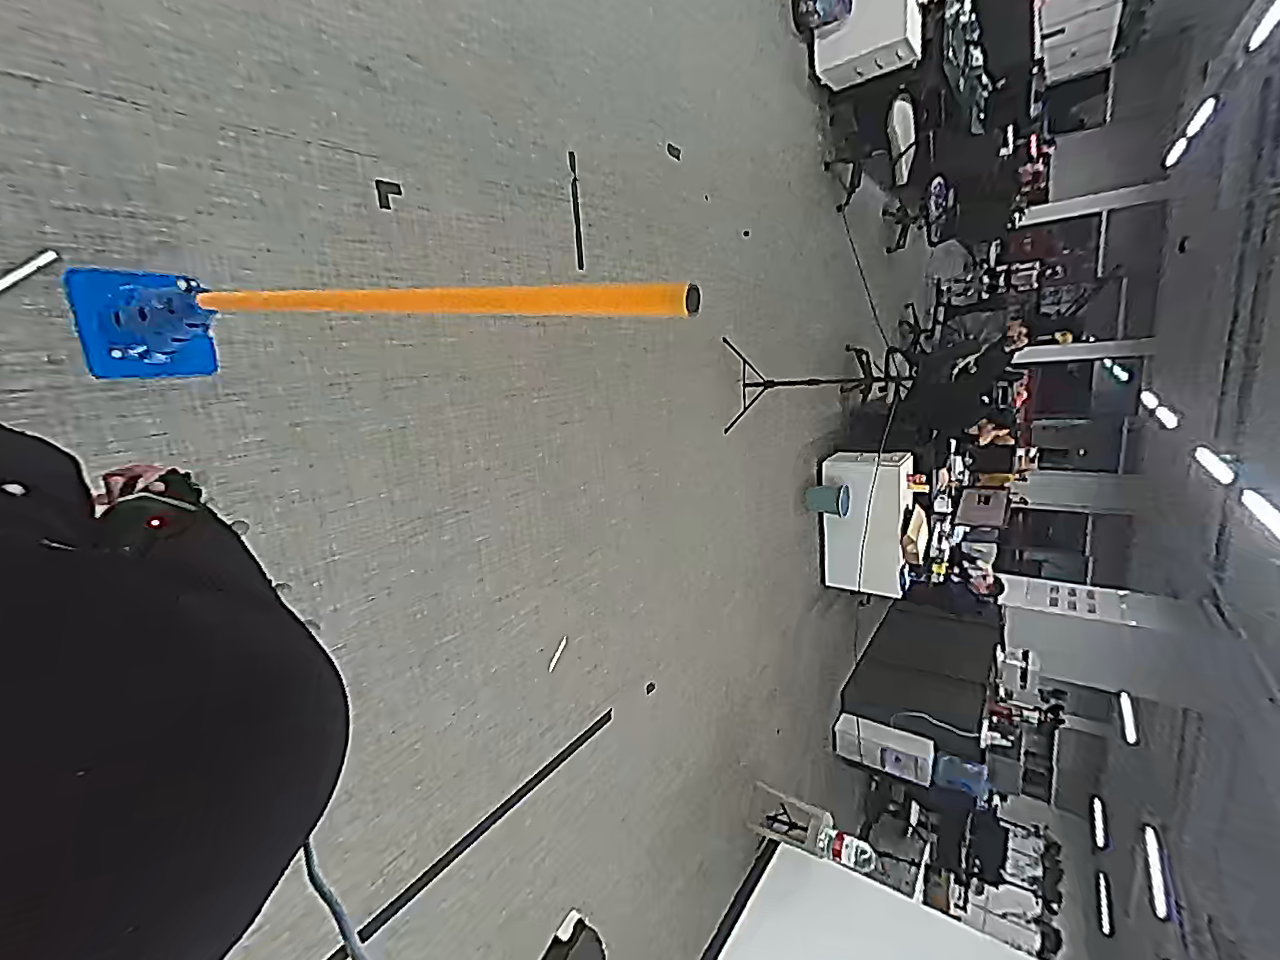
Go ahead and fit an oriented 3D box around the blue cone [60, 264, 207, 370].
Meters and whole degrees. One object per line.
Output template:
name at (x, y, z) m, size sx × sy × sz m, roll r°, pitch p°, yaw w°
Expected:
blue cone at (-0.832, -0.302, 0.942) m, size 0.193 × 0.380 × 0.192 m, roll -16°, pitch 105°, yaw -52°
